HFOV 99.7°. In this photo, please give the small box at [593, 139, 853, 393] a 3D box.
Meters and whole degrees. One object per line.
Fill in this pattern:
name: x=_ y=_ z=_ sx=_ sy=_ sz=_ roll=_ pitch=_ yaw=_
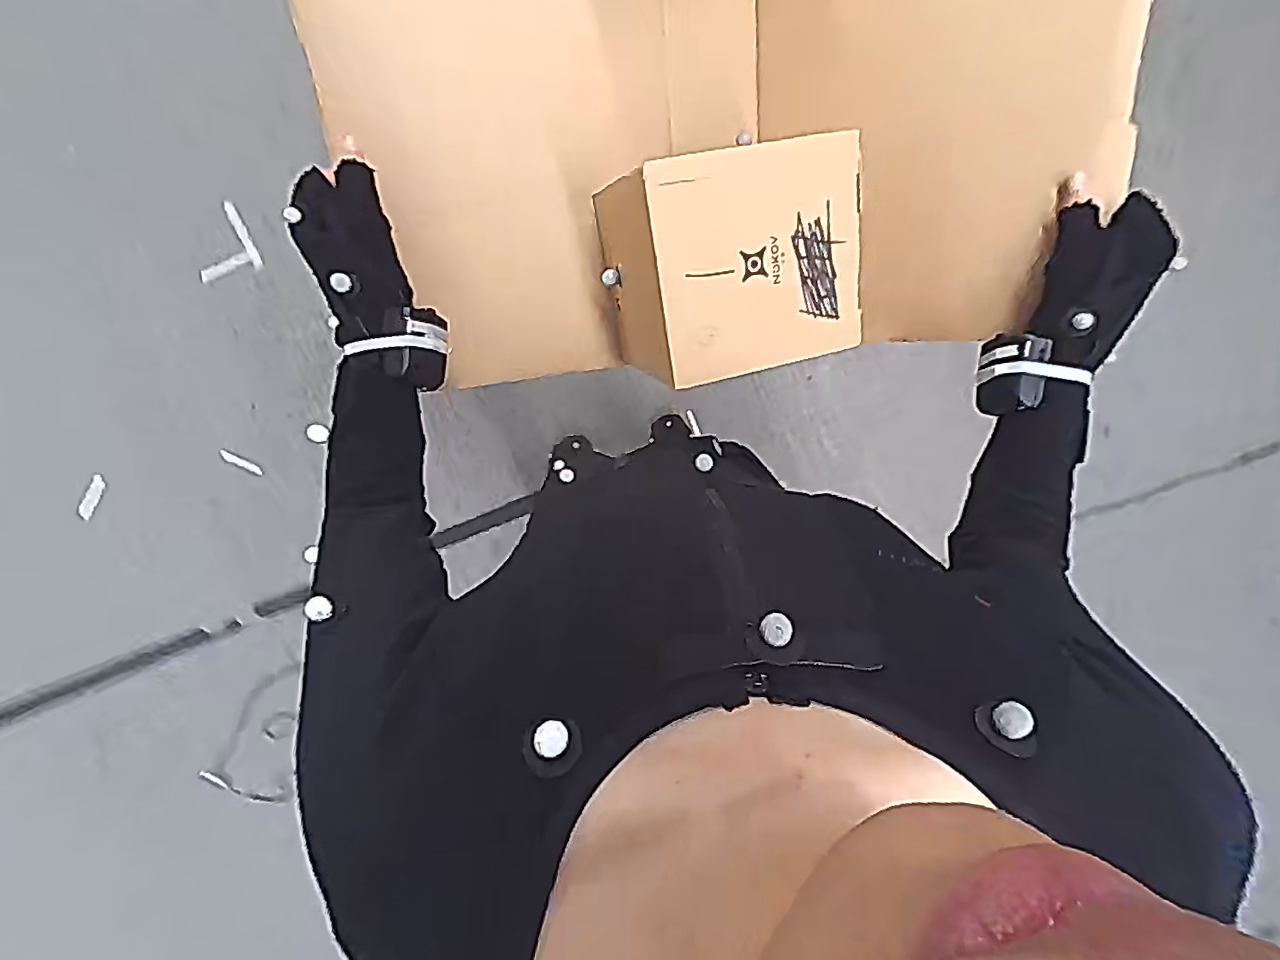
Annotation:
small box: x=0.070 y=-0.194 z=0.499 sx=0.179 sy=0.176 sz=0.168 roll=-16 pitch=113 yaw=-11
